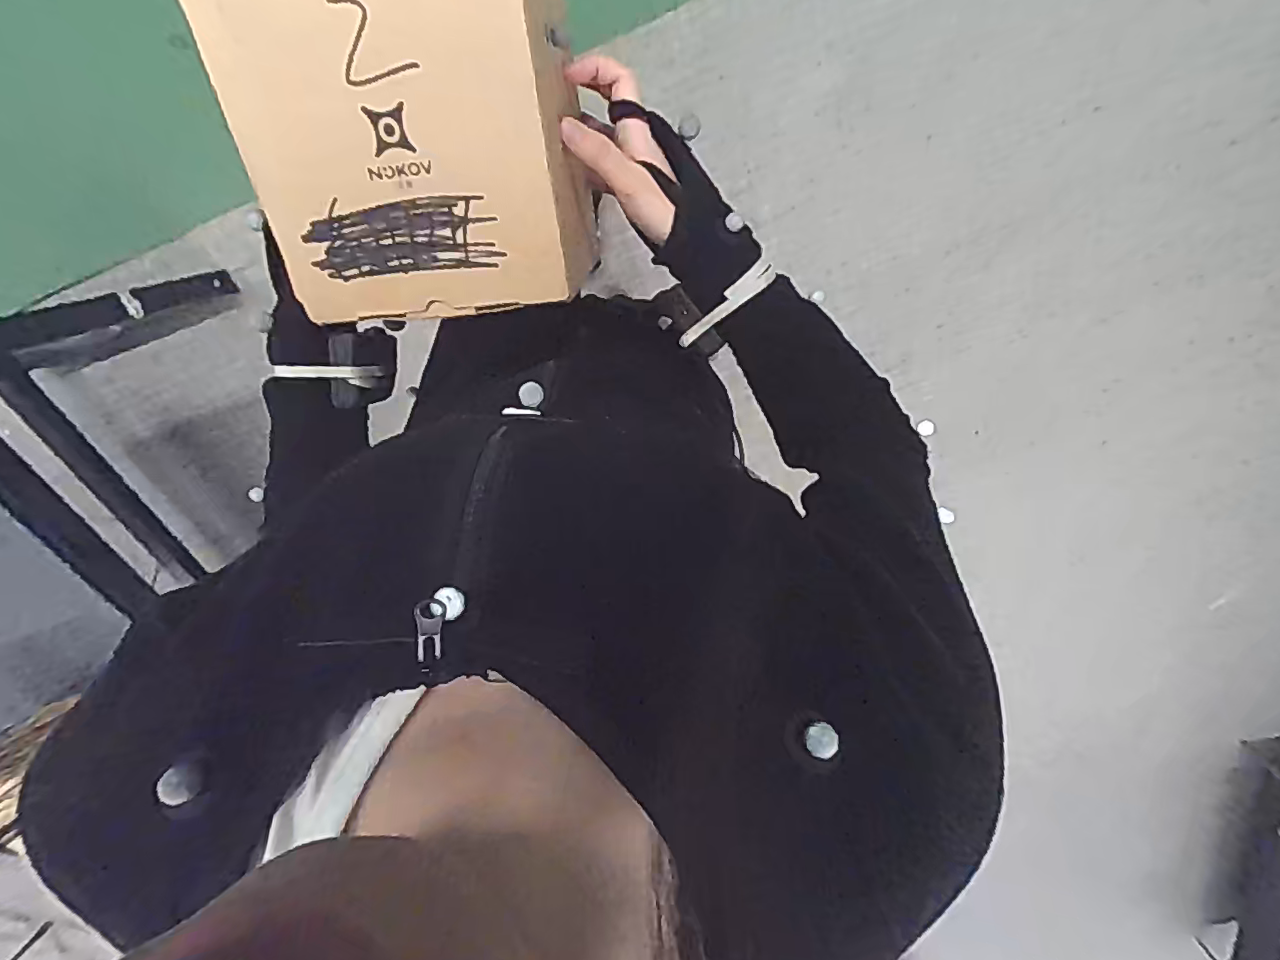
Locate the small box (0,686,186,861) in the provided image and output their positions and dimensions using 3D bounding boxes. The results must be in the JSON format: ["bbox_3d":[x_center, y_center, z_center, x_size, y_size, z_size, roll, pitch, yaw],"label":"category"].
[{"bbox_3d":[-0.909,0.468,0.875,0.179,0.176,0.168,-20,119,7],"label":"small box"}]
